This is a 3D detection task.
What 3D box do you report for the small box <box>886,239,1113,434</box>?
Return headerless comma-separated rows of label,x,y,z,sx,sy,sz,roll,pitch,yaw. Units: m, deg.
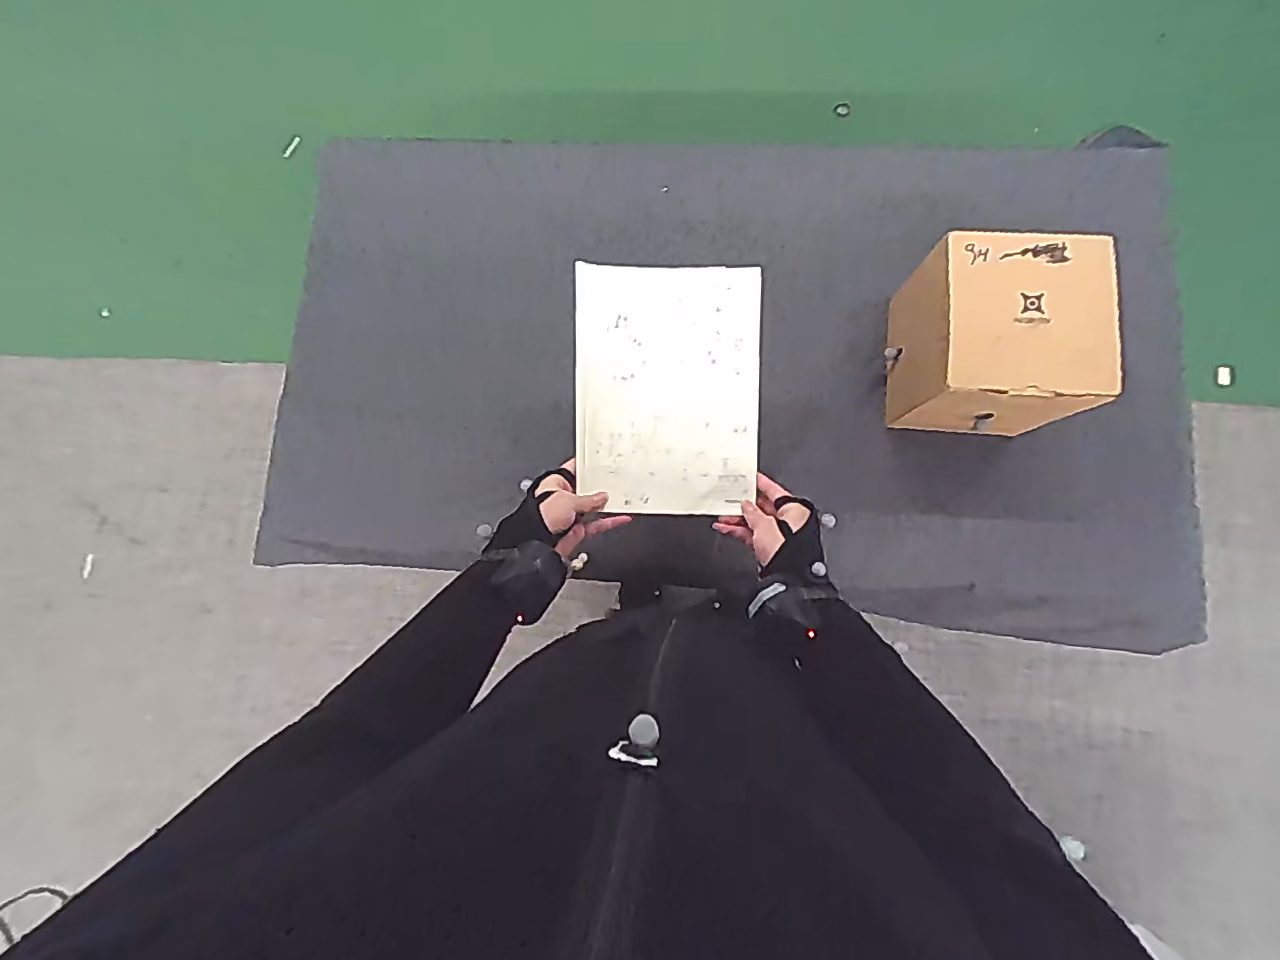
small box,0.404,-0.155,0.635,0.168,0.176,0.179,4,84,4
